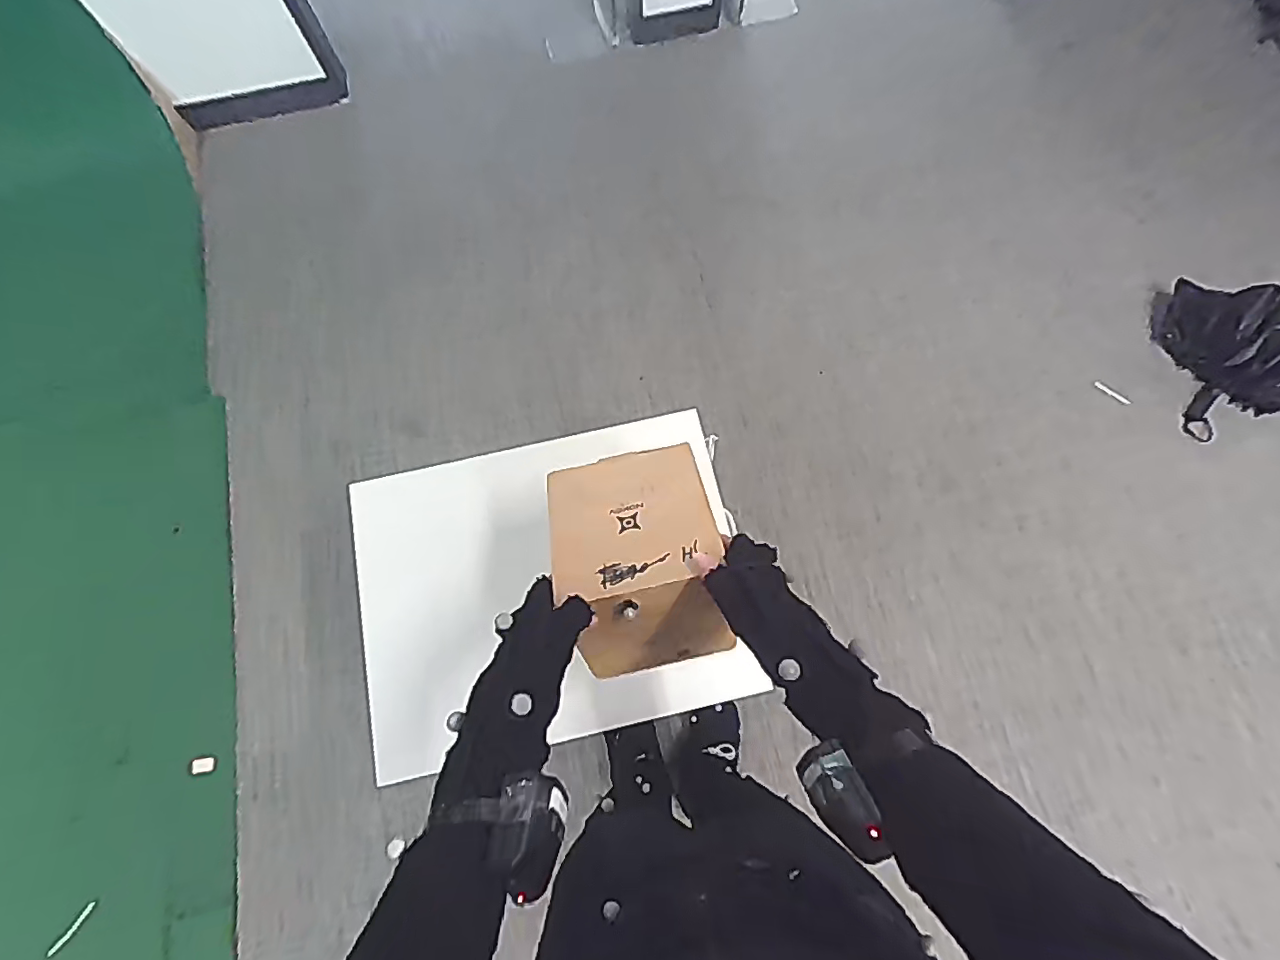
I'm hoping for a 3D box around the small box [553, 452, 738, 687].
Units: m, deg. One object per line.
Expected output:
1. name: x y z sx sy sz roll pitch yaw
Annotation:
1. small box: 0.006 0.100 0.605 0.168 0.176 0.179 -14 43 2
